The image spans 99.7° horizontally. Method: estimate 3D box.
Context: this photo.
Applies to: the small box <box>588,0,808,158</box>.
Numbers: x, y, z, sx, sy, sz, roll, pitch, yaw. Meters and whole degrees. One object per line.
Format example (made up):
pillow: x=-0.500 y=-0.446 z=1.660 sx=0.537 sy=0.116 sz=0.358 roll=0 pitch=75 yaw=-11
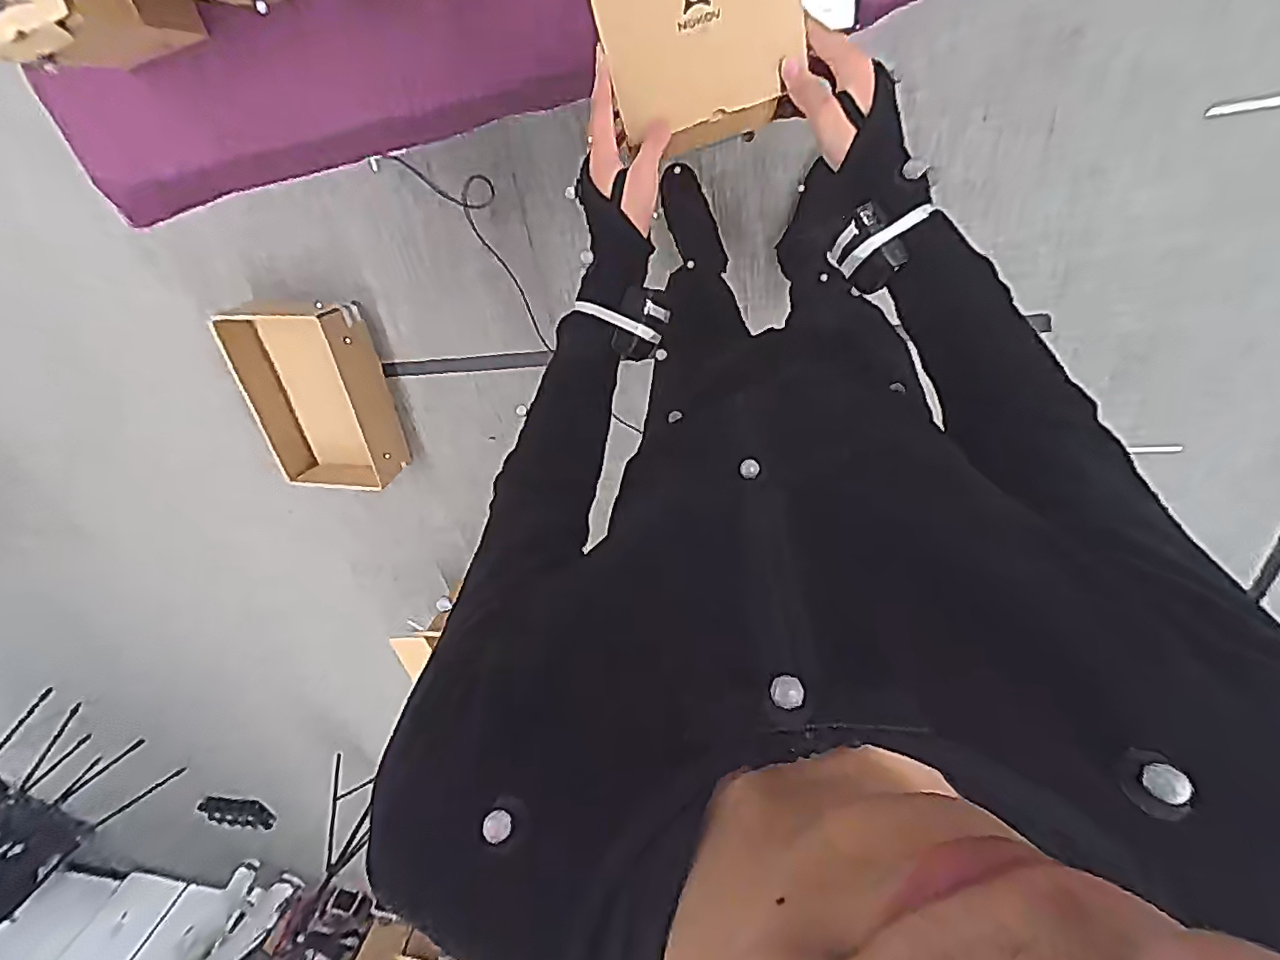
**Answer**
small box: x=0.045 y=-0.421 z=0.503 sx=0.168 sy=0.176 sz=0.179 roll=-14 pitch=112 yaw=8
